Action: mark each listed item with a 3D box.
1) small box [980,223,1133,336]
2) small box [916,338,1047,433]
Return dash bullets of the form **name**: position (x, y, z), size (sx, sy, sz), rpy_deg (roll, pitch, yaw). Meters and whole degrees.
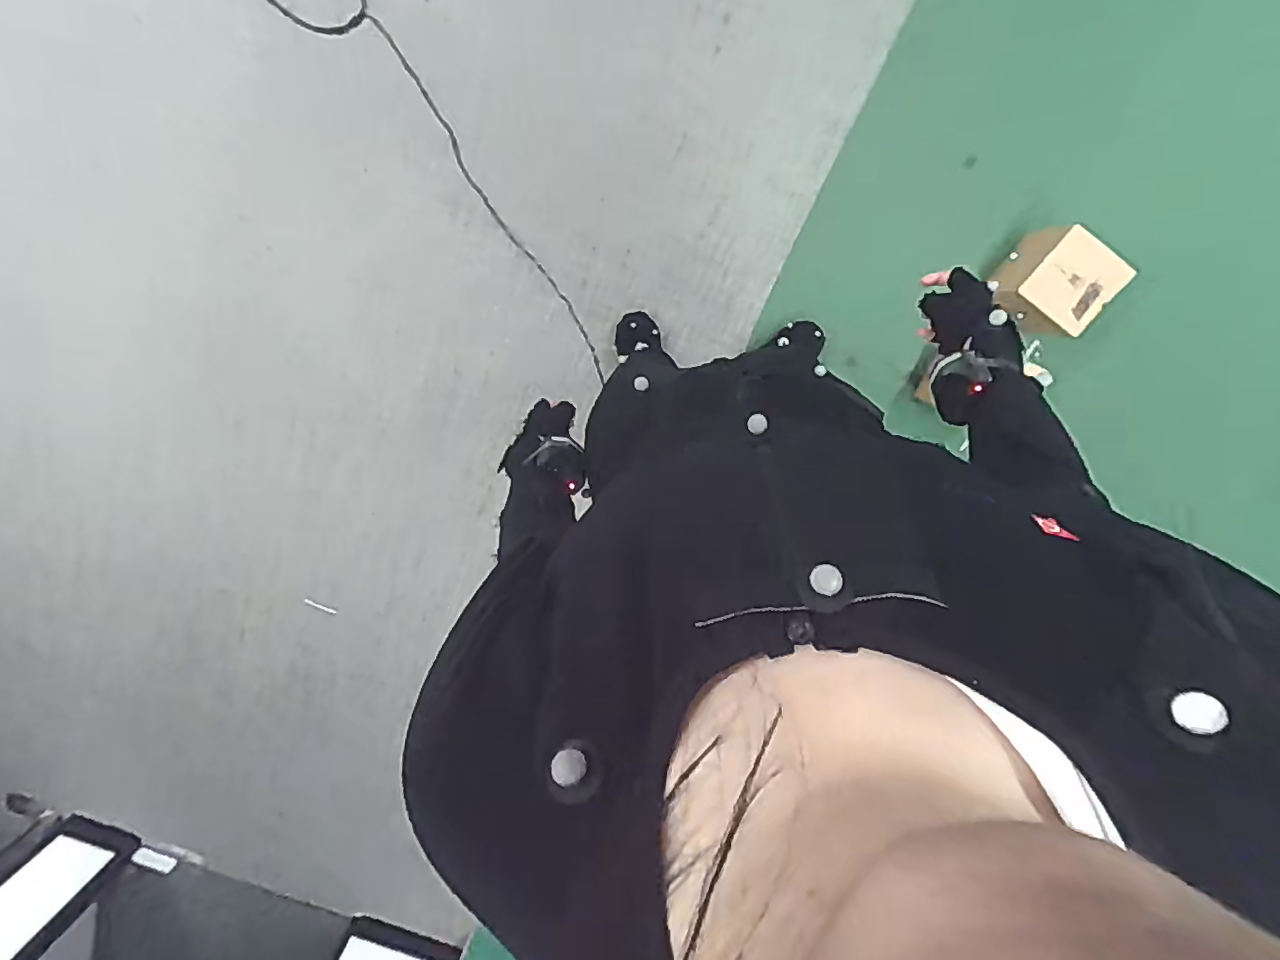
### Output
- **small box**: position (0.929, -0.450, 1.223), size (0.179, 0.176, 0.168), rpy_deg (34, 107, -6)
- **small box**: position (0.808, -0.235, 1.303), size (0.179, 0.176, 0.168), rpy_deg (22, 109, -4)
